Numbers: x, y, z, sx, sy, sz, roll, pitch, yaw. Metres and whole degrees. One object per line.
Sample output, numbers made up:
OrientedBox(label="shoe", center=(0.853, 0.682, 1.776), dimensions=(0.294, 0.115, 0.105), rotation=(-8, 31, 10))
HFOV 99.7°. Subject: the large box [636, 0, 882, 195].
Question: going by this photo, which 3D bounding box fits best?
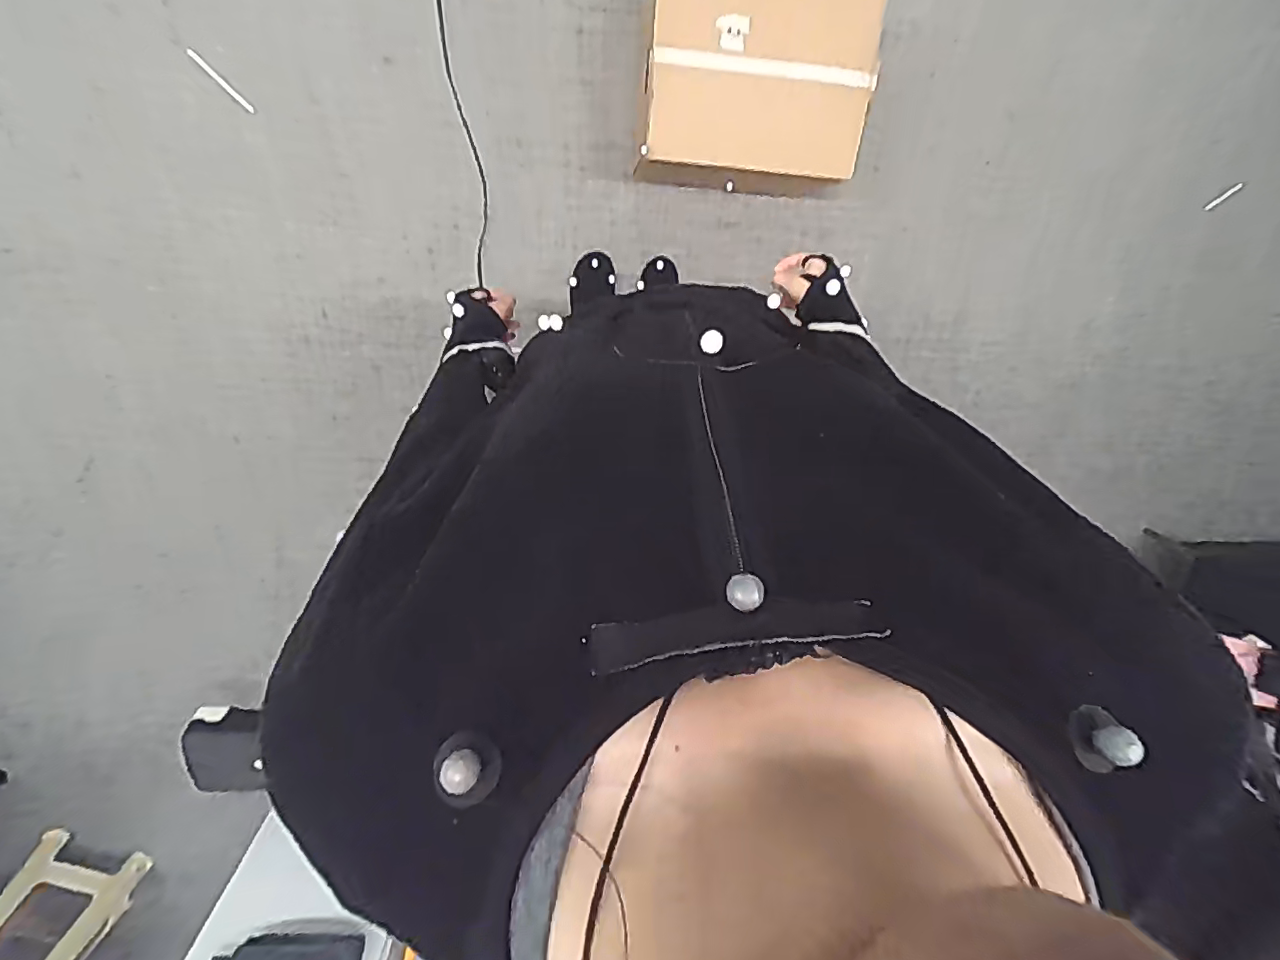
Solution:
OrientedBox(label="large box", center=(0.208, -0.782, 1.110), dimensions=(0.408, 0.320, 0.320), rotation=(3, 112, -5))
